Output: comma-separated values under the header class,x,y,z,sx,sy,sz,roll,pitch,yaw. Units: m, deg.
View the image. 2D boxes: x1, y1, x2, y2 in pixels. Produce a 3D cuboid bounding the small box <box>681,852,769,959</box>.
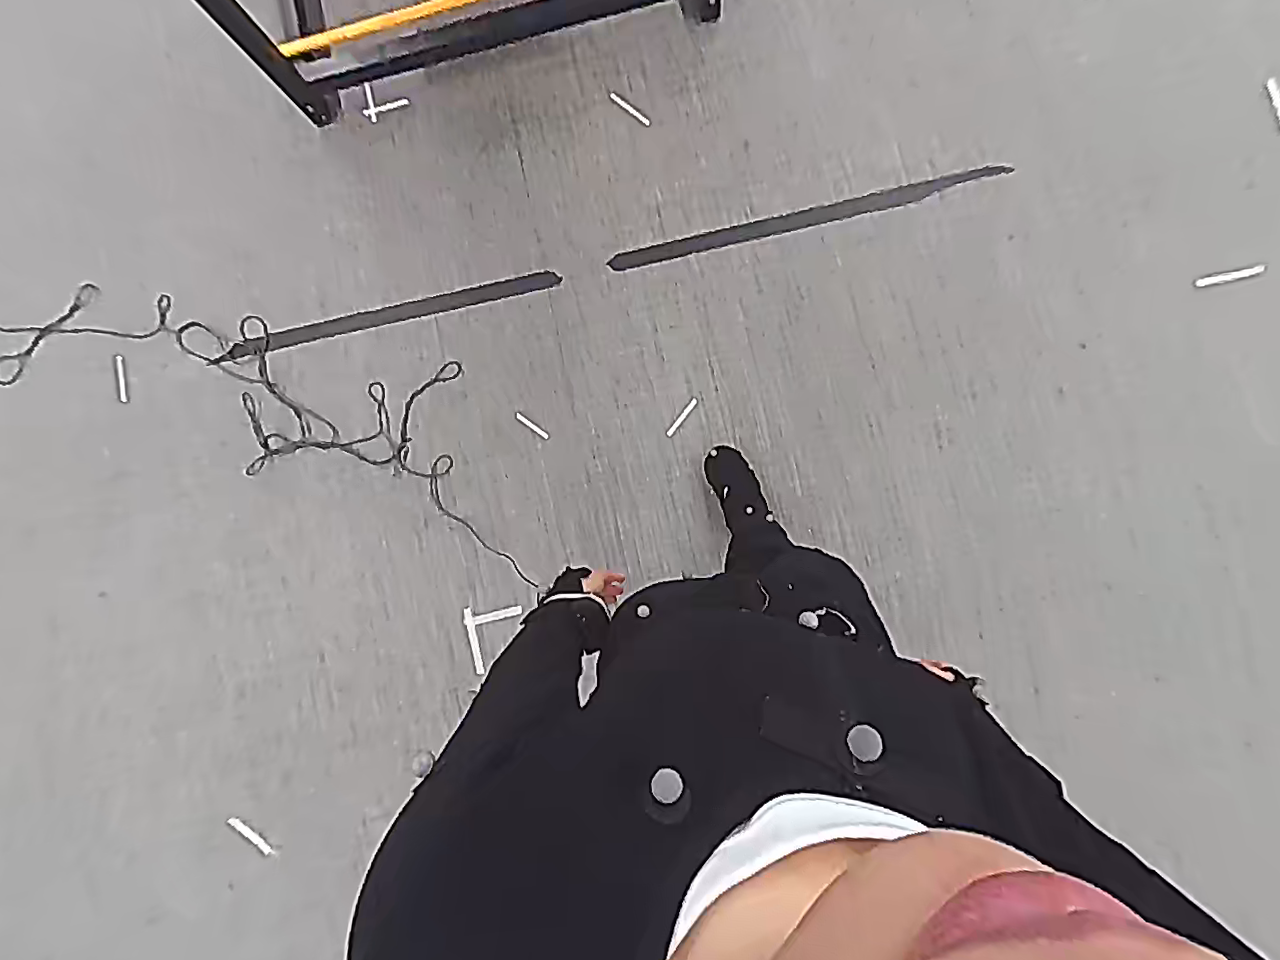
class,x,y,z,sx,sy,sz,roll,pitch,yaw
small box,0.192,1.014,1.248,0.168,0.176,0.179,-15,86,3
